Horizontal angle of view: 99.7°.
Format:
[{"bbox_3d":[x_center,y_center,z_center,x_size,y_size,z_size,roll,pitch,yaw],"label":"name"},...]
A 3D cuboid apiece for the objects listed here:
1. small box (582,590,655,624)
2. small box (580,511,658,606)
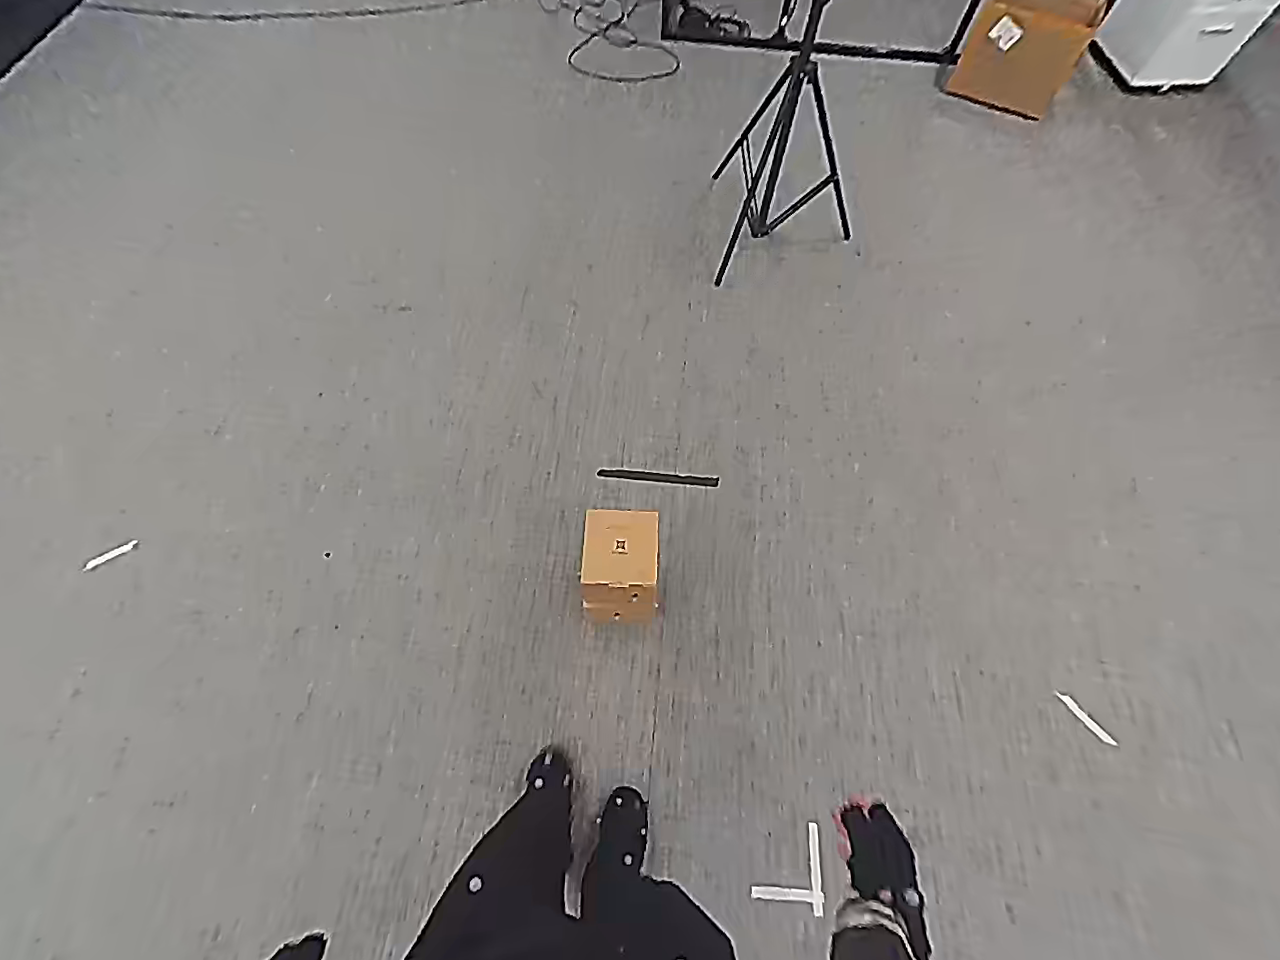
[{"bbox_3d":[-0.055,0.271,1.395,0.179,0.176,0.168,-2,63,-1],"label":"small box"},{"bbox_3d":[-0.046,0.187,1.255,0.168,0.176,0.179,3,62,-2],"label":"small box"}]
